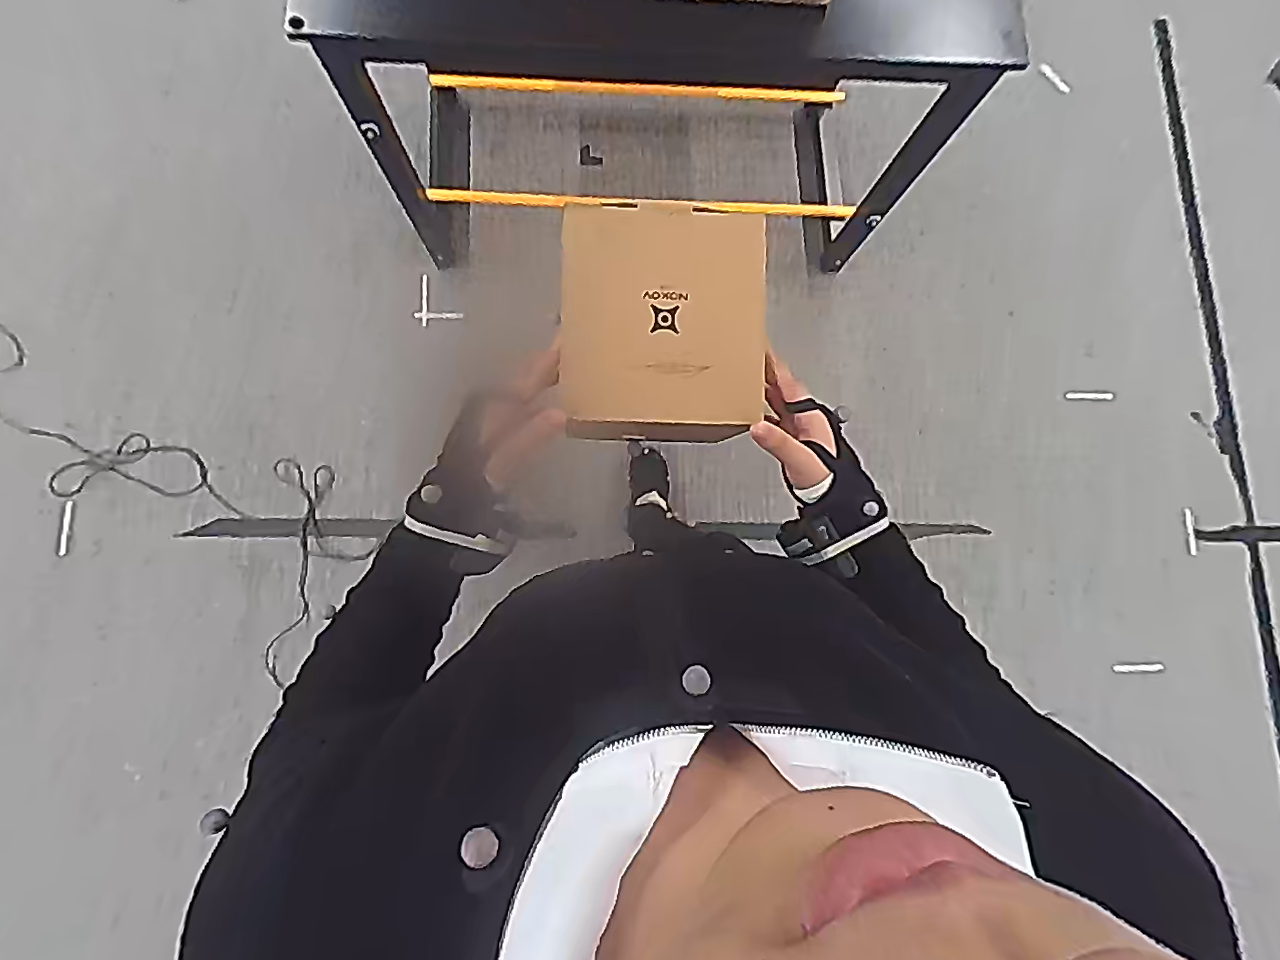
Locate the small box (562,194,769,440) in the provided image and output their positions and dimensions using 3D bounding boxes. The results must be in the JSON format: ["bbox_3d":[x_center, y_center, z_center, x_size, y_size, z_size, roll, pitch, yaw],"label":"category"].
[{"bbox_3d":[0.015,-0.135,0.509,0.168,0.176,0.179,1,89,-4],"label":"small box"}]
